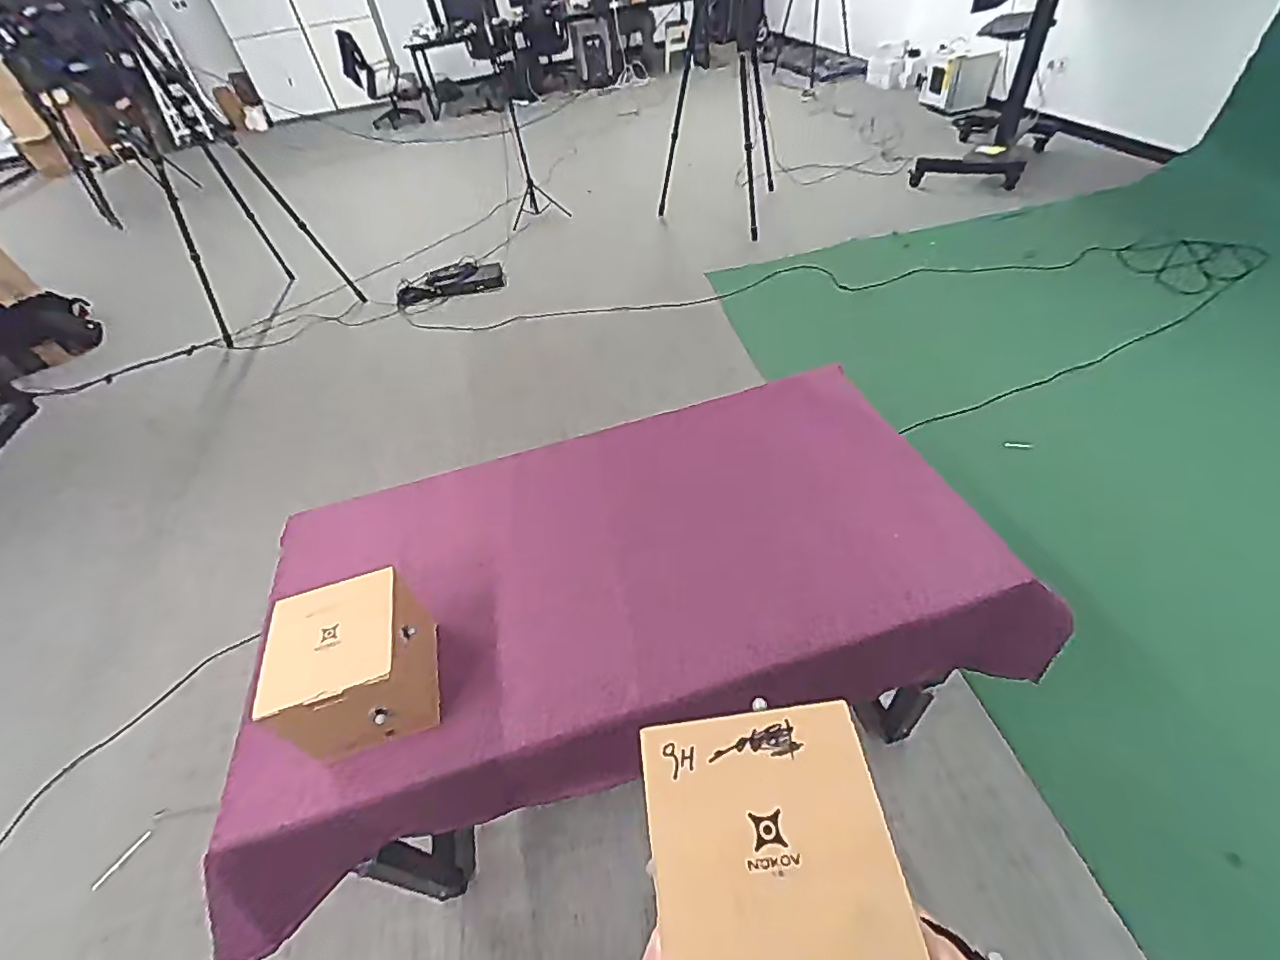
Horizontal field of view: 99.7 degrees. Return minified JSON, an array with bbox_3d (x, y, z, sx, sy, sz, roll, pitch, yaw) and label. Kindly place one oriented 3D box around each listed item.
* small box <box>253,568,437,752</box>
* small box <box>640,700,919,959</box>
[{"bbox_3d":[-0.398,0.260,0.764,0.168,0.176,0.179,-16,46,-8],"label":"small box"},{"bbox_3d":[0.097,0.299,0.444,0.168,0.176,0.179,-8,53,1],"label":"small box"}]
